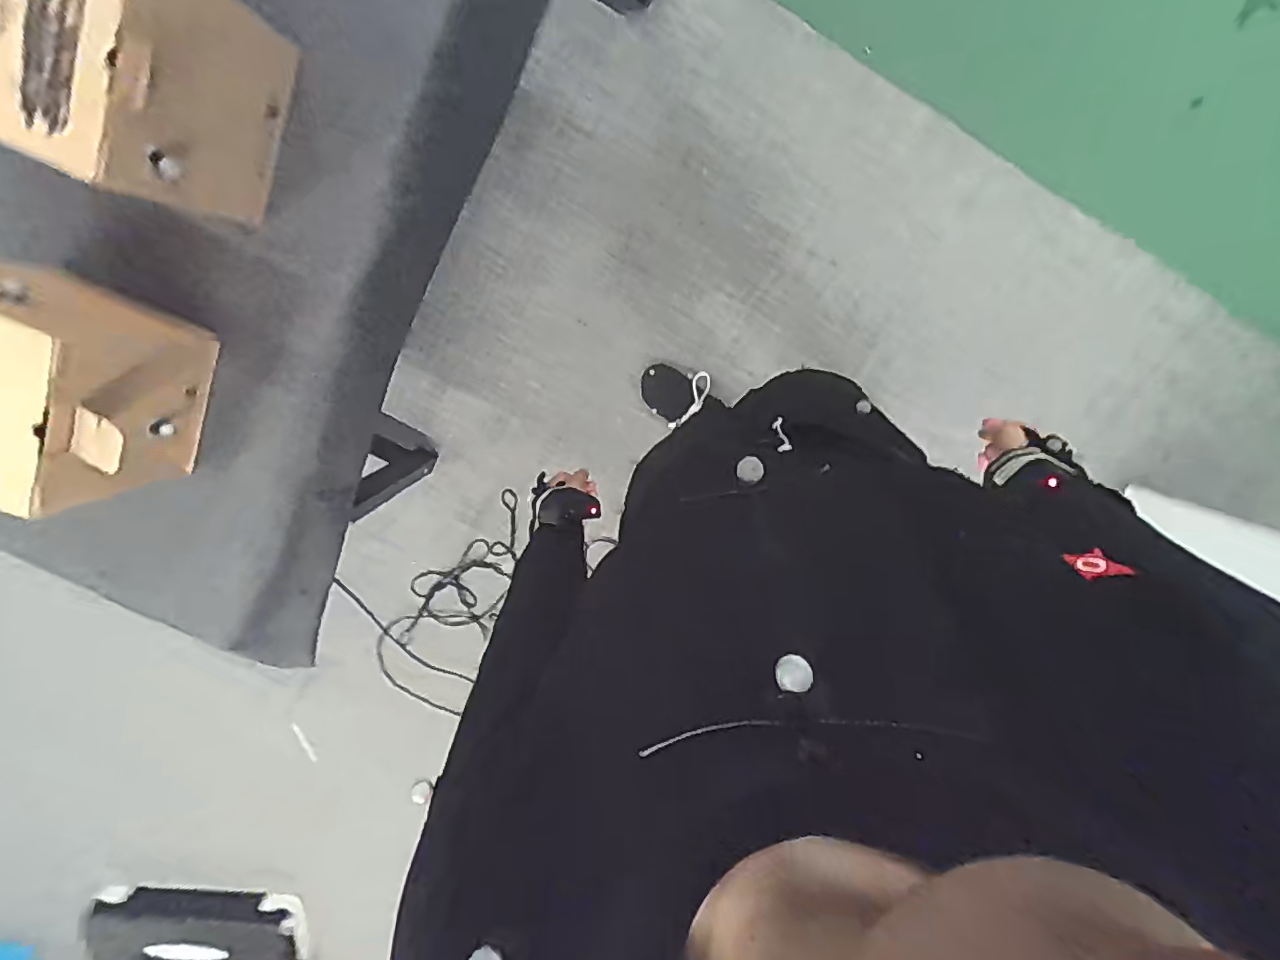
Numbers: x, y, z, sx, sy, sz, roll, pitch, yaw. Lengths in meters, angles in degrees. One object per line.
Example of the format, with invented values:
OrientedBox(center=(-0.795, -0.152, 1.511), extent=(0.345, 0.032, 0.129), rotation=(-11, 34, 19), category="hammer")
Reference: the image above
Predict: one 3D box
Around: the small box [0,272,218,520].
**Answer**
OrientedBox(center=(-0.558, -0.088, 0.506), extent=(0.179, 0.176, 0.168), rotation=(22, 104, -5), category="small box")
